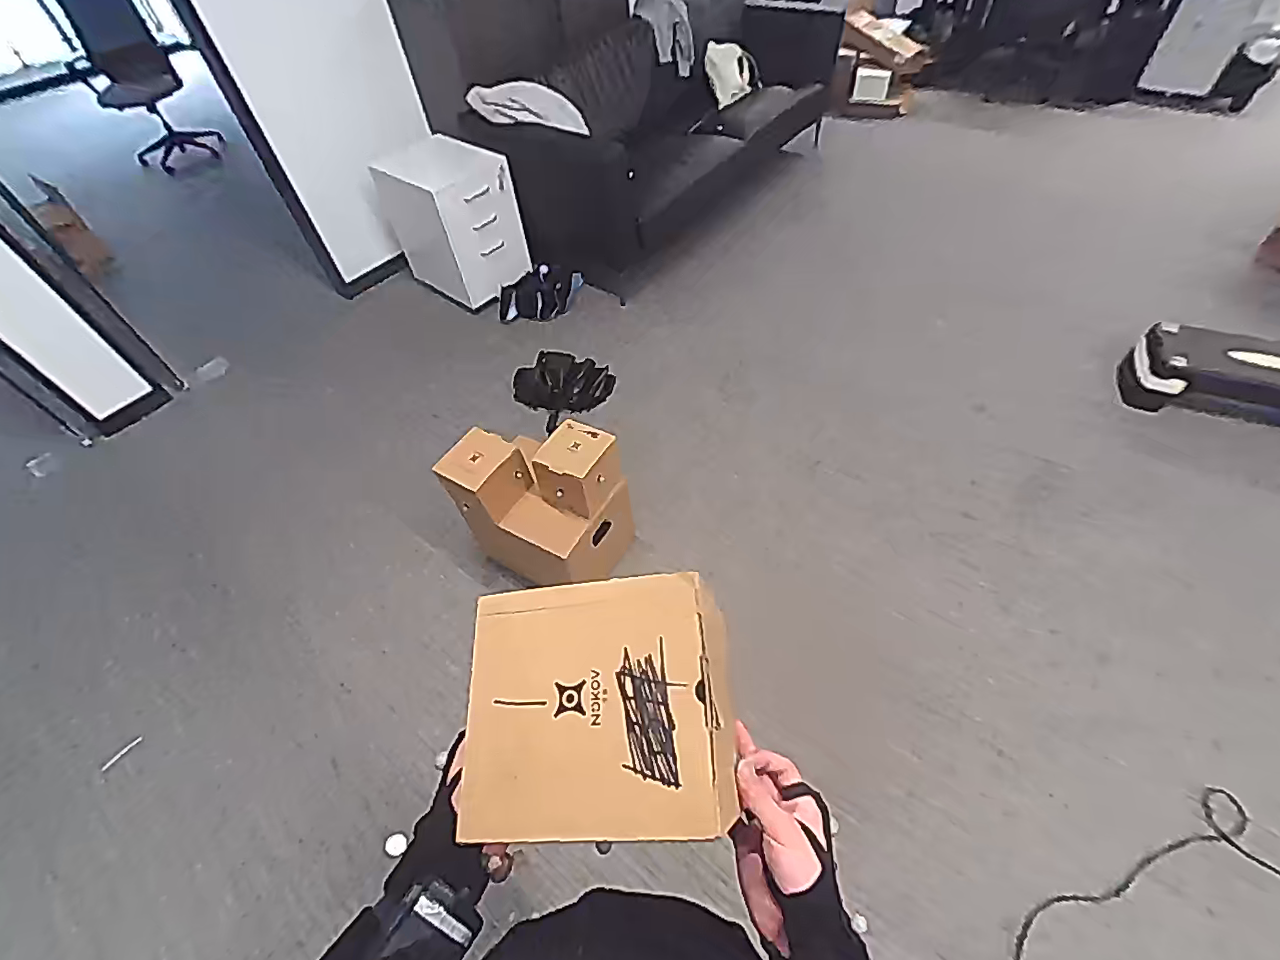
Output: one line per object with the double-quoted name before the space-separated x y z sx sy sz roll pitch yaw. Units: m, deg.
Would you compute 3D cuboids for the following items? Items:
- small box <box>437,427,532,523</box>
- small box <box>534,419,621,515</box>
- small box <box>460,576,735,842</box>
"small box" -0.422 -0.012 1.513 0.168 0.176 0.179 23 61 24
"small box" -0.164 -0.033 1.499 0.168 0.176 0.179 21 56 21
"small box" -0.019 0.186 0.443 0.179 0.176 0.168 -9 62 12
